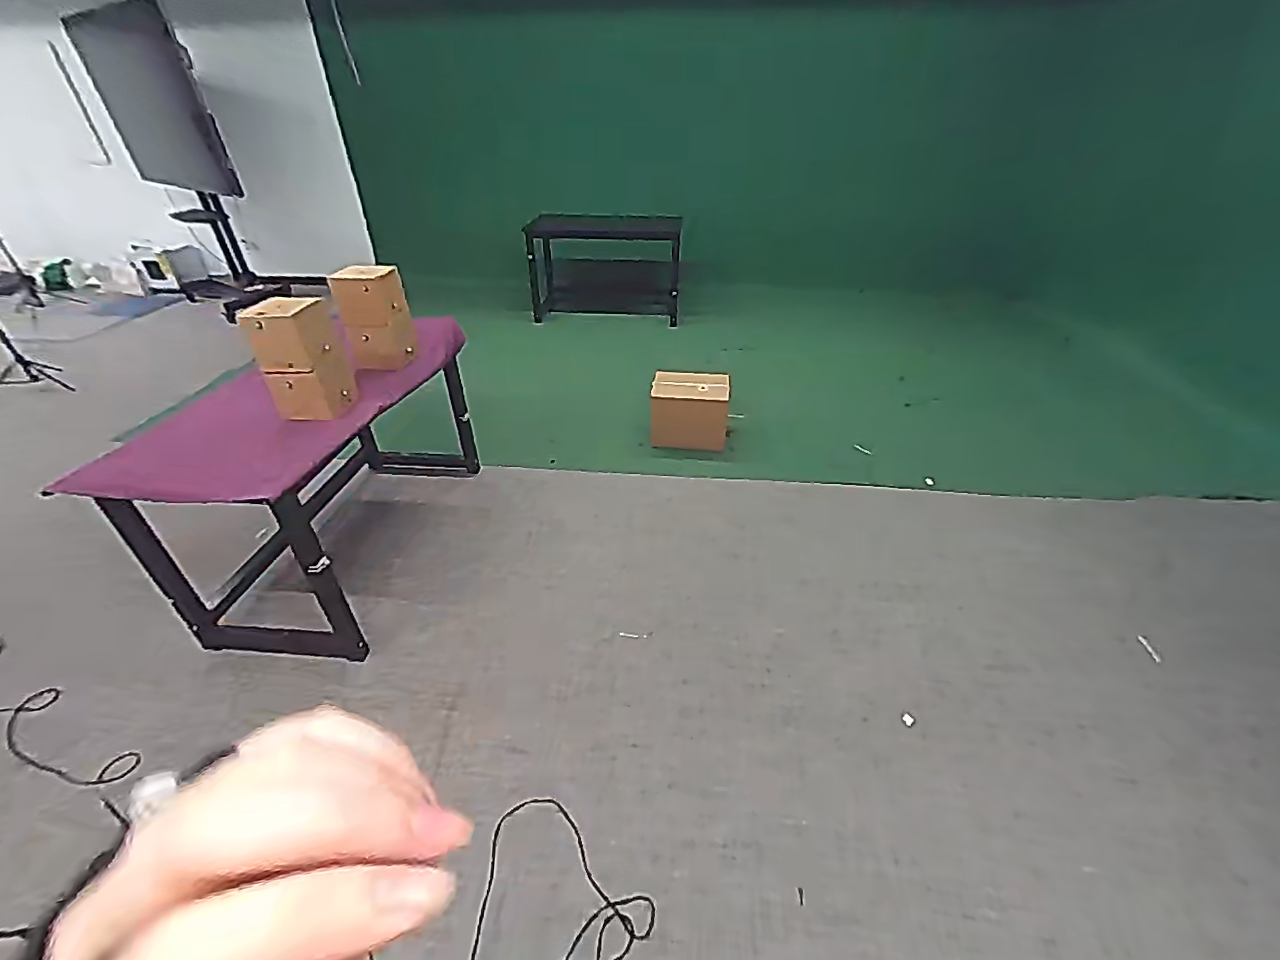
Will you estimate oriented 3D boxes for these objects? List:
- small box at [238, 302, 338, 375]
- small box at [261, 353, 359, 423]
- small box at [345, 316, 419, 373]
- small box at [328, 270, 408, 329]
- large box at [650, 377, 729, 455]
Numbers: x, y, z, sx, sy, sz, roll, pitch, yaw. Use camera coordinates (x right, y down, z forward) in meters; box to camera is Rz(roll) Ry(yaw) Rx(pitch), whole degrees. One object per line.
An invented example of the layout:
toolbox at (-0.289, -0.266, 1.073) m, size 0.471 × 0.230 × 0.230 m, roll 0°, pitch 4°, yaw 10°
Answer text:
small box at (-1.034, -0.425, 1.611) m, size 0.168 × 0.176 × 0.179 m, roll 0°, pitch 34°, yaw 5°
small box at (-1.032, -0.291, 1.706) m, size 0.179 × 0.176 × 0.168 m, roll 1°, pitch 35°, yaw 5°
small box at (-0.960, -0.511, 2.026) m, size 0.179 × 0.176 × 0.168 m, roll 3°, pitch 35°, yaw 5°
small box at (-0.966, -0.645, 1.935) m, size 0.179 × 0.176 × 0.168 m, roll 3°, pitch 35°, yaw 5°
large box at (0.267, -0.349, 2.937) m, size 0.408 × 0.320 × 0.320 m, roll 5°, pitch 35°, yaw 6°
